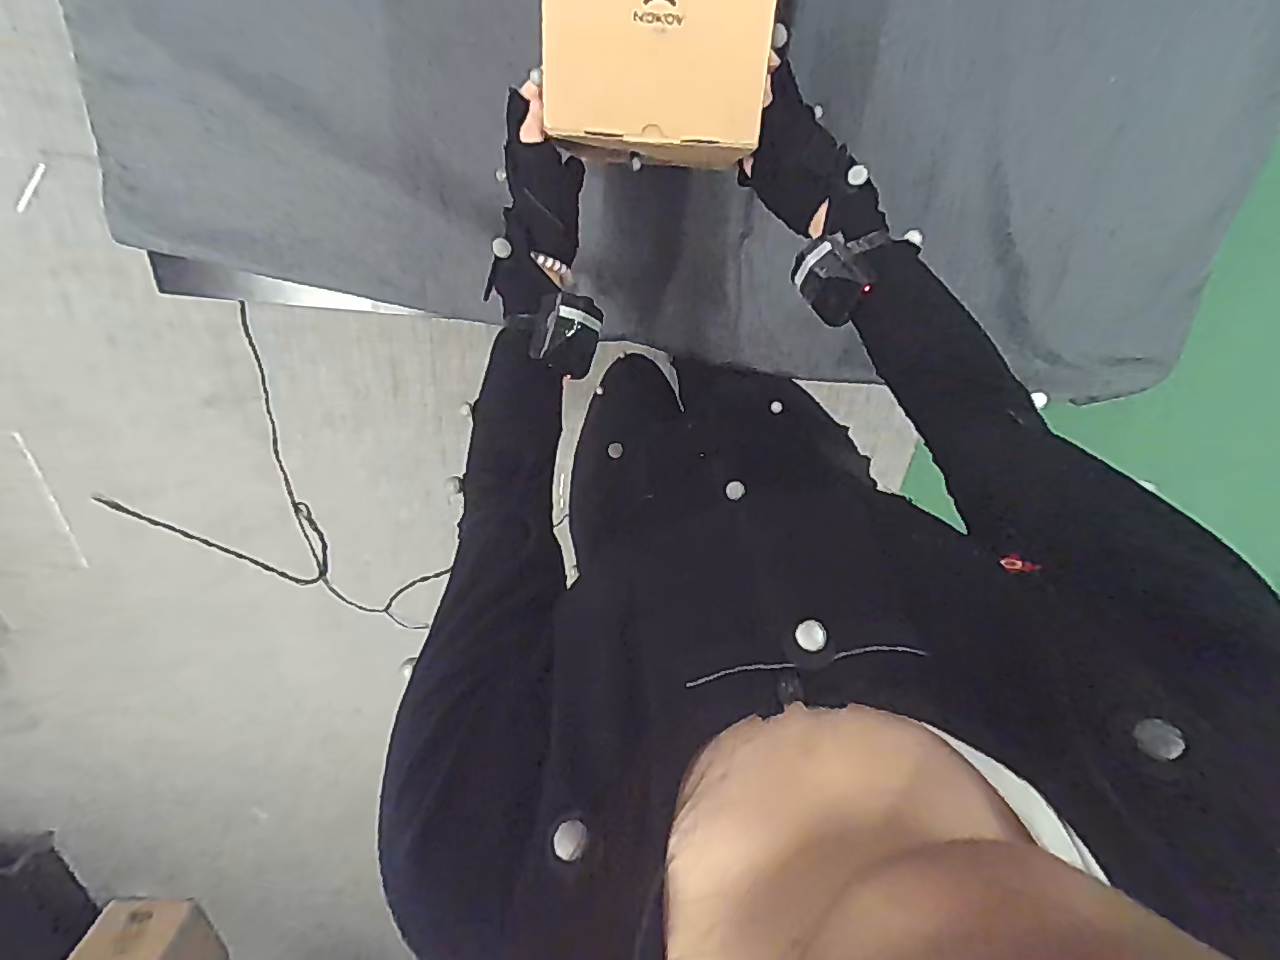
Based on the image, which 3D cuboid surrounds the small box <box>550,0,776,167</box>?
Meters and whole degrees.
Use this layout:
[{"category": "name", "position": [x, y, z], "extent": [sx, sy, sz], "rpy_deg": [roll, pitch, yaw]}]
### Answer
[{"category": "small box", "position": [0.016, -0.378, 0.460], "extent": [0.168, 0.176, 0.179], "rpy_deg": [3, 117, -1]}]
